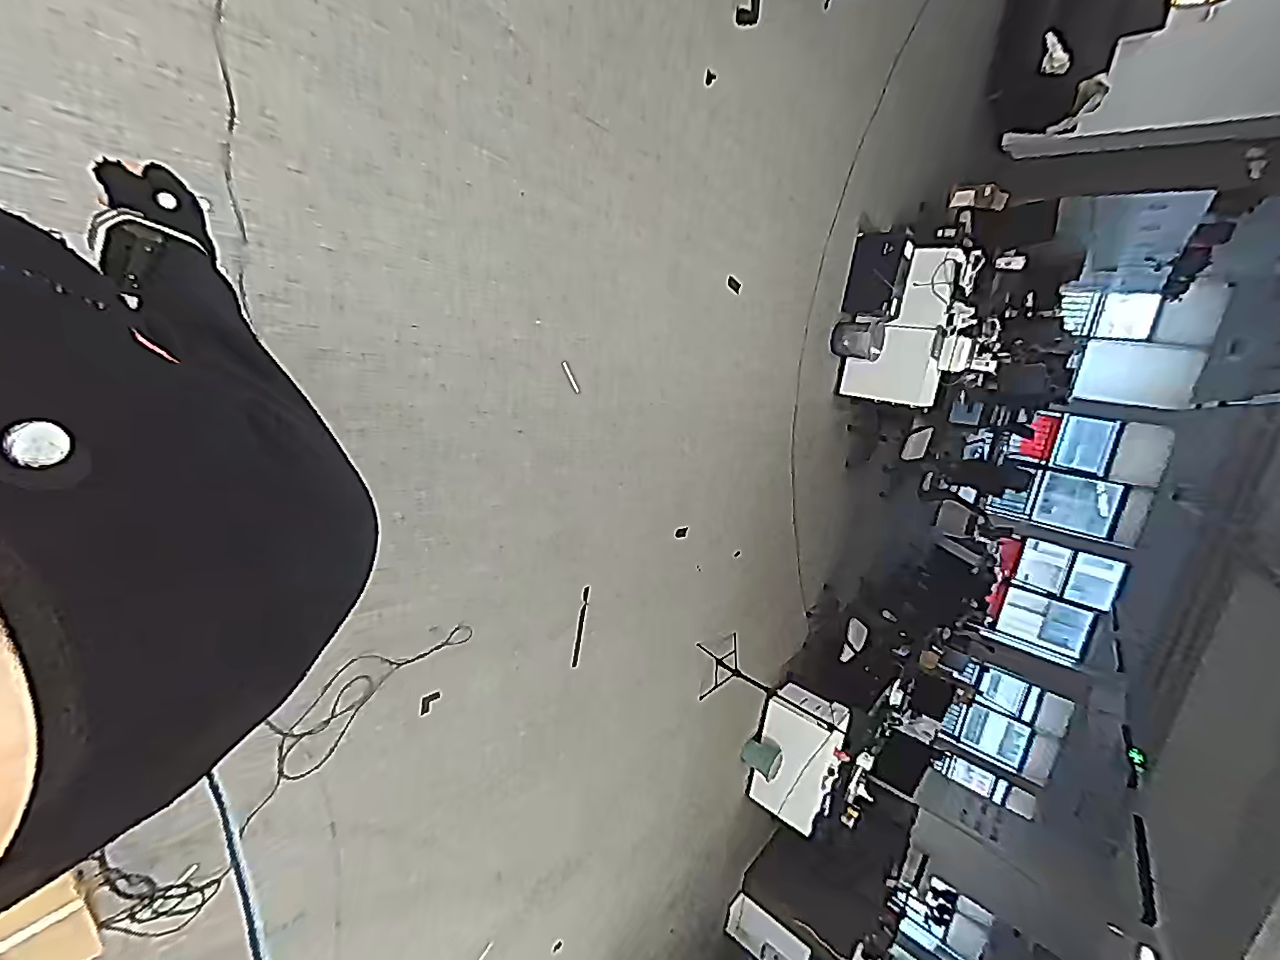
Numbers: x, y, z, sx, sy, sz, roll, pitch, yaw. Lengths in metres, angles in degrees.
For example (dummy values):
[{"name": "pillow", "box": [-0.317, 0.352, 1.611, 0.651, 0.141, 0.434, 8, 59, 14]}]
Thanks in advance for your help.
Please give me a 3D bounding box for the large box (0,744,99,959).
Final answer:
[{"name": "large box", "box": [-1.304, 0.774, 0.962, 0.408, 0.320, 0.320, -19, 119, -47]}]
